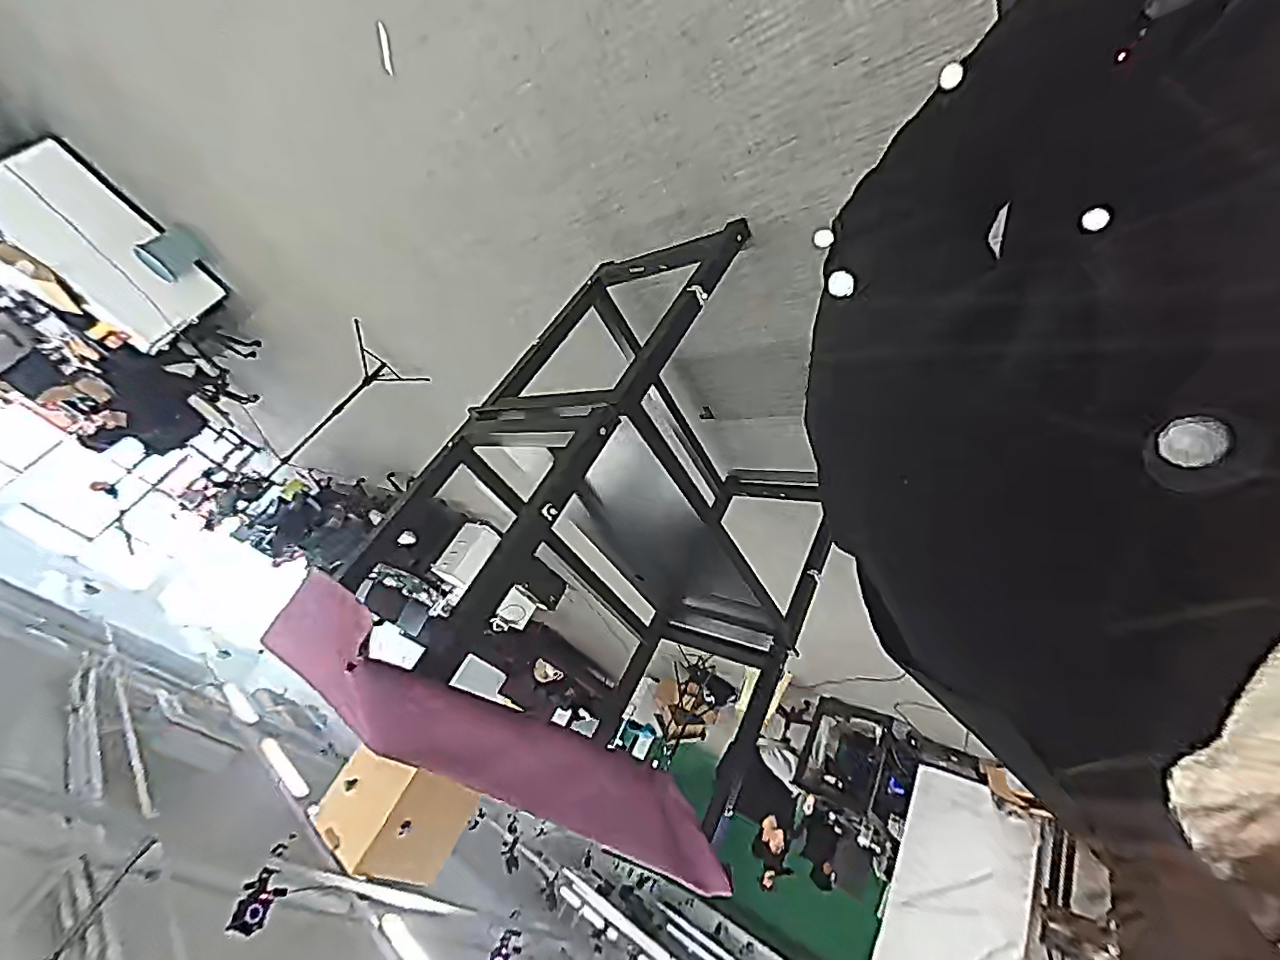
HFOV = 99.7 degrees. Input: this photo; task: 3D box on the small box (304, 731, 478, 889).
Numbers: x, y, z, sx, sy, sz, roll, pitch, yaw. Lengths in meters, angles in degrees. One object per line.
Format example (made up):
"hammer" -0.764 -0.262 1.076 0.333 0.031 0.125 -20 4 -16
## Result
"small box" -0.425 0.568 0.943 0.168 0.176 0.179 10 148 38
